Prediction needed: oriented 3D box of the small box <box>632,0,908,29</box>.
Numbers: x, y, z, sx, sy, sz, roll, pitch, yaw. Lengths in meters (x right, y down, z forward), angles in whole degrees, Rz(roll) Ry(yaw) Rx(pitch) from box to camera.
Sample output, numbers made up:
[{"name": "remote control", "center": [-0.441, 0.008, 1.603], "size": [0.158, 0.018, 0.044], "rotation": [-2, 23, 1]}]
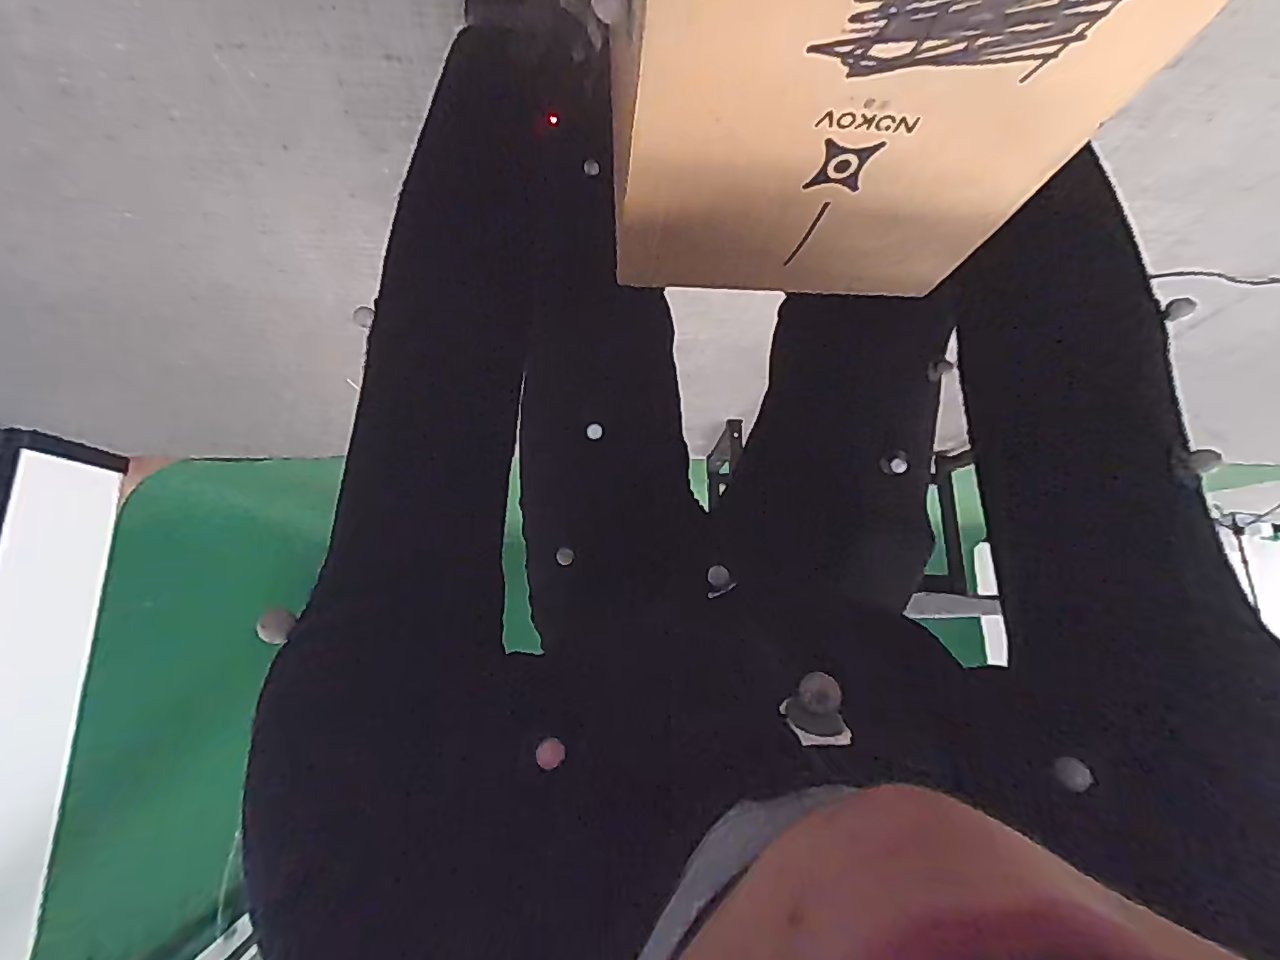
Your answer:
[{"name": "small box", "center": [0.070, -0.358, 0.238], "size": [0.168, 0.176, 0.179], "rotation": [0, 162, -6]}]
